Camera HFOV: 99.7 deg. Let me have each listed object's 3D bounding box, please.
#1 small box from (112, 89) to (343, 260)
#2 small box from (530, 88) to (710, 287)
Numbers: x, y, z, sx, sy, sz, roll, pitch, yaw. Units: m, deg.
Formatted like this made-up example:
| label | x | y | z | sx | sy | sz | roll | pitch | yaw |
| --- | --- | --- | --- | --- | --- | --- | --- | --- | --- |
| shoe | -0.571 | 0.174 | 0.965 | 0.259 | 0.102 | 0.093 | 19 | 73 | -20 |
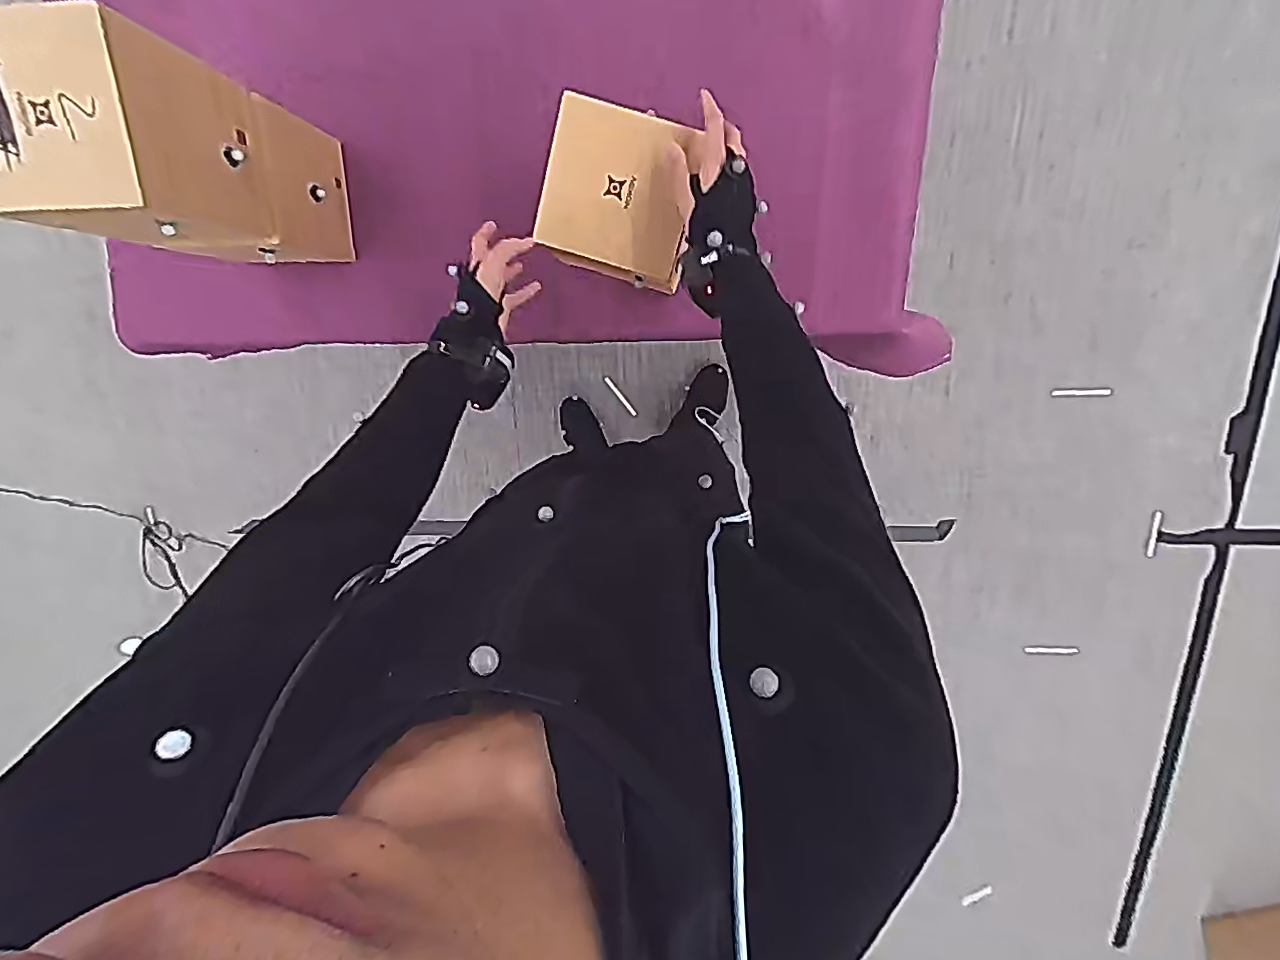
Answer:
| label | x | y | z | sx | sy | sz | roll | pitch | yaw |
| --- | --- | --- | --- | --- | --- | --- | --- | --- | --- |
| small box | -0.524 | -0.394 | 0.722 | 0.179 | 0.176 | 0.168 | 2 | 105 | 4 |
| small box | -0.021 | -0.357 | 0.697 | 0.179 | 0.176 | 0.168 | 16 | 106 | -1 |
